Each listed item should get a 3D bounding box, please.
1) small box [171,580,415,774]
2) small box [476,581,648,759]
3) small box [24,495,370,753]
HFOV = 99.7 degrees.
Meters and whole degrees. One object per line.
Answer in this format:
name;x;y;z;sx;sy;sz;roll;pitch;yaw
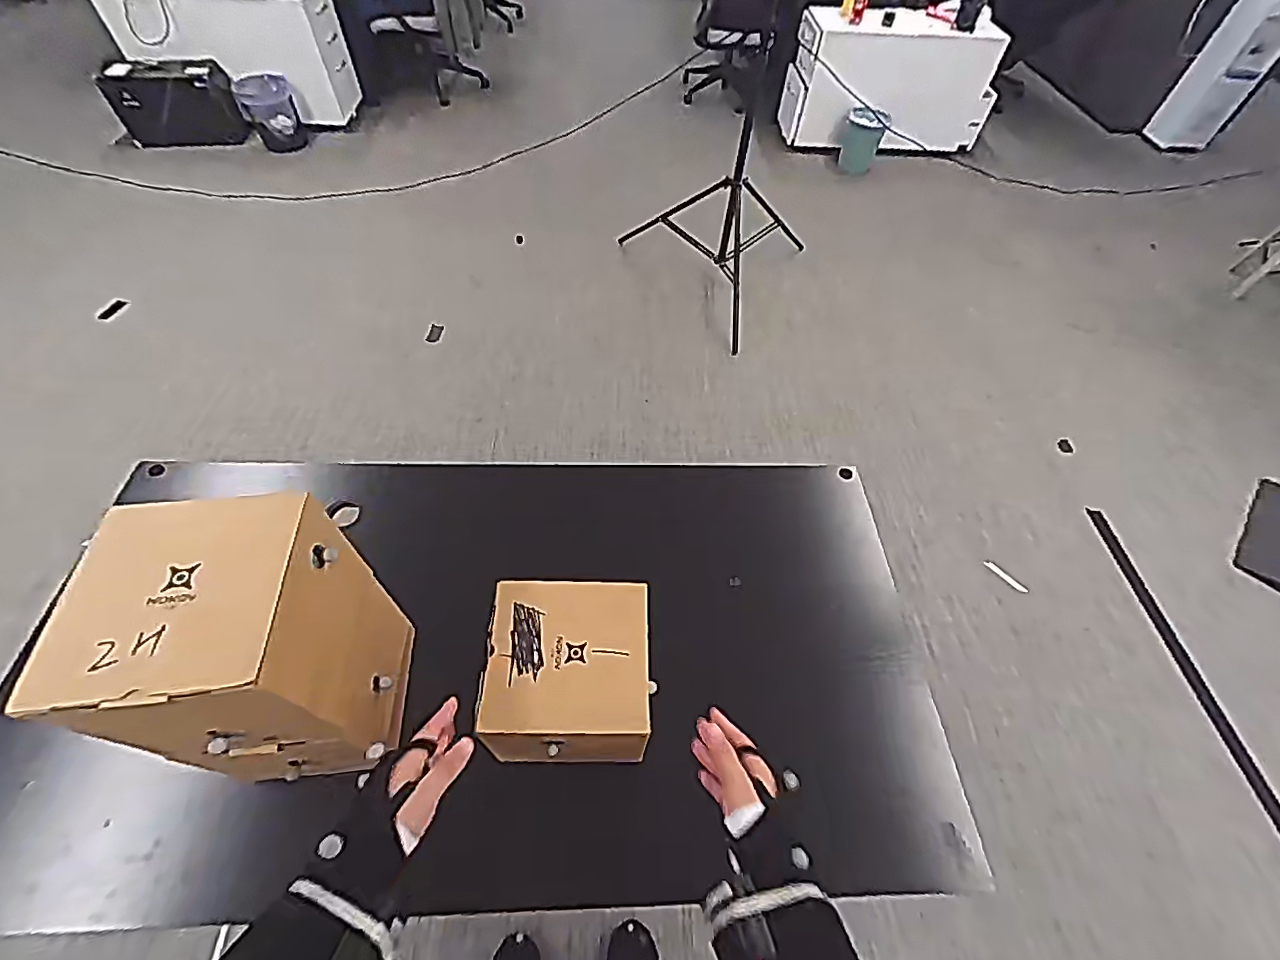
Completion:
small box;-0.380;0.237;0.637;0.168;0.176;0.179;-4;55;-5
small box;-0.082;0.234;0.654;0.179;0.176;0.168;1;54;-3
small box;-0.373;0.136;0.505;0.168;0.176;0.179;-5;54;-6
